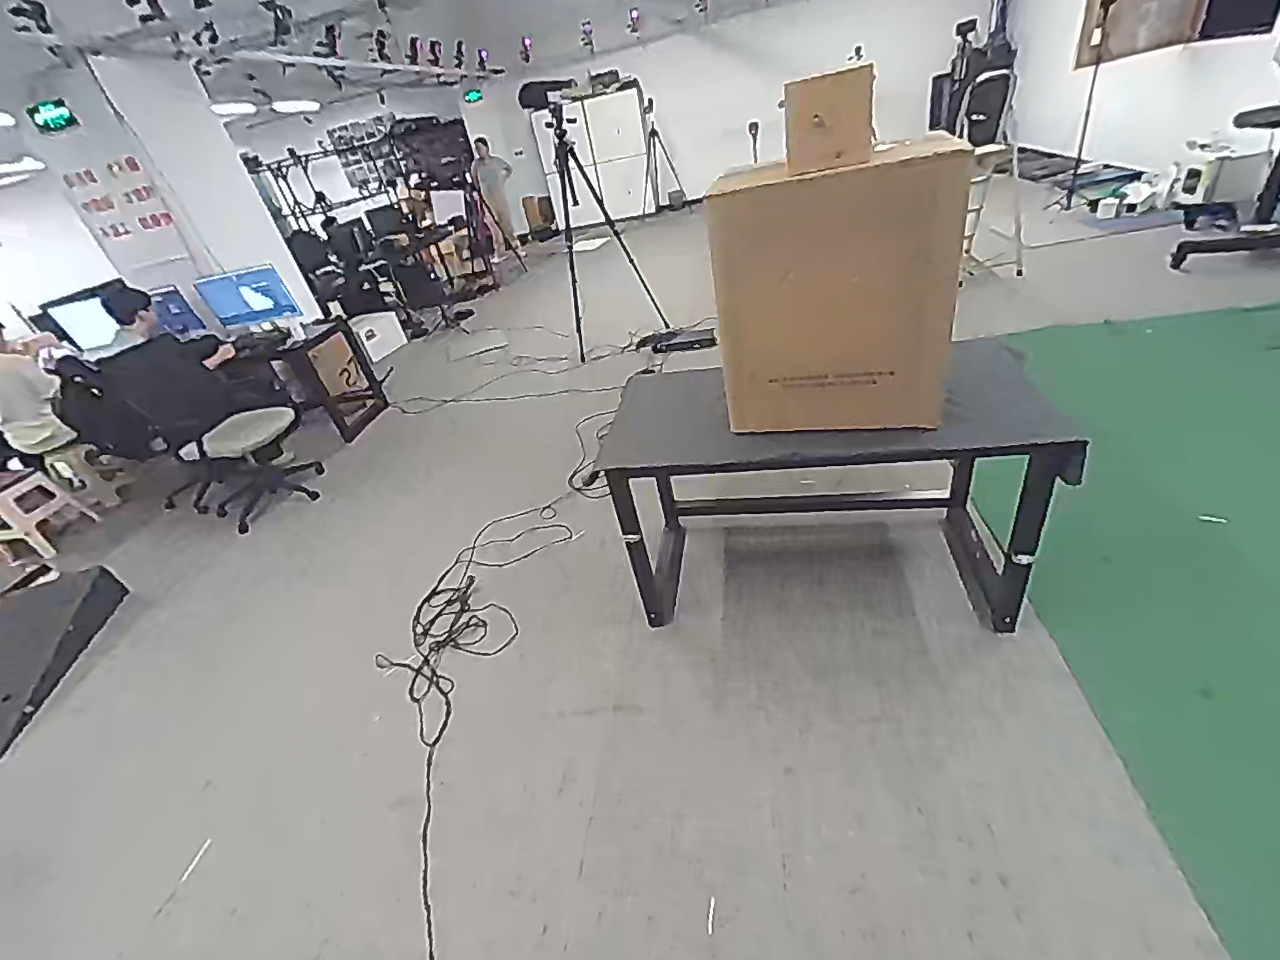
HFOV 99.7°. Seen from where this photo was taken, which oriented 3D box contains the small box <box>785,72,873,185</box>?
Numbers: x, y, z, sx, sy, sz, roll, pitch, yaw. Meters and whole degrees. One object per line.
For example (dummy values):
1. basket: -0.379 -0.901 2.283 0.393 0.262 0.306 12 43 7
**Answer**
1. small box: 0.402 -0.742 1.150 0.168 0.176 0.179 -1 37 18
